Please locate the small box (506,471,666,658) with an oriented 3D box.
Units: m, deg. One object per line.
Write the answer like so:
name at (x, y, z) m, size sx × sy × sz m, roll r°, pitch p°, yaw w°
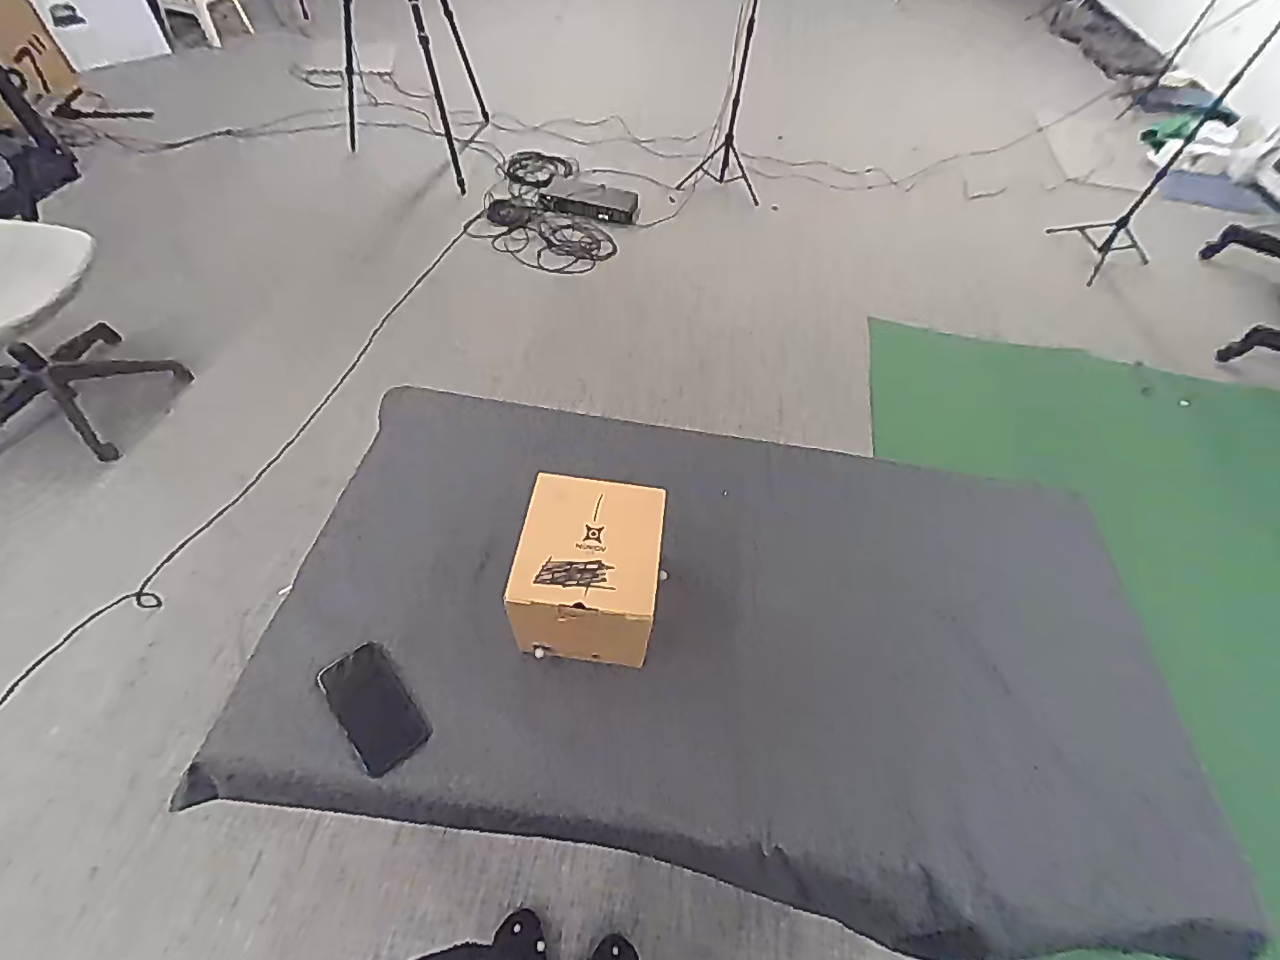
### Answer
small box at (-0.063, 0.115, 0.703) m, size 0.168 × 0.176 × 0.179 m, roll 8°, pitch 53°, yaw 0°
